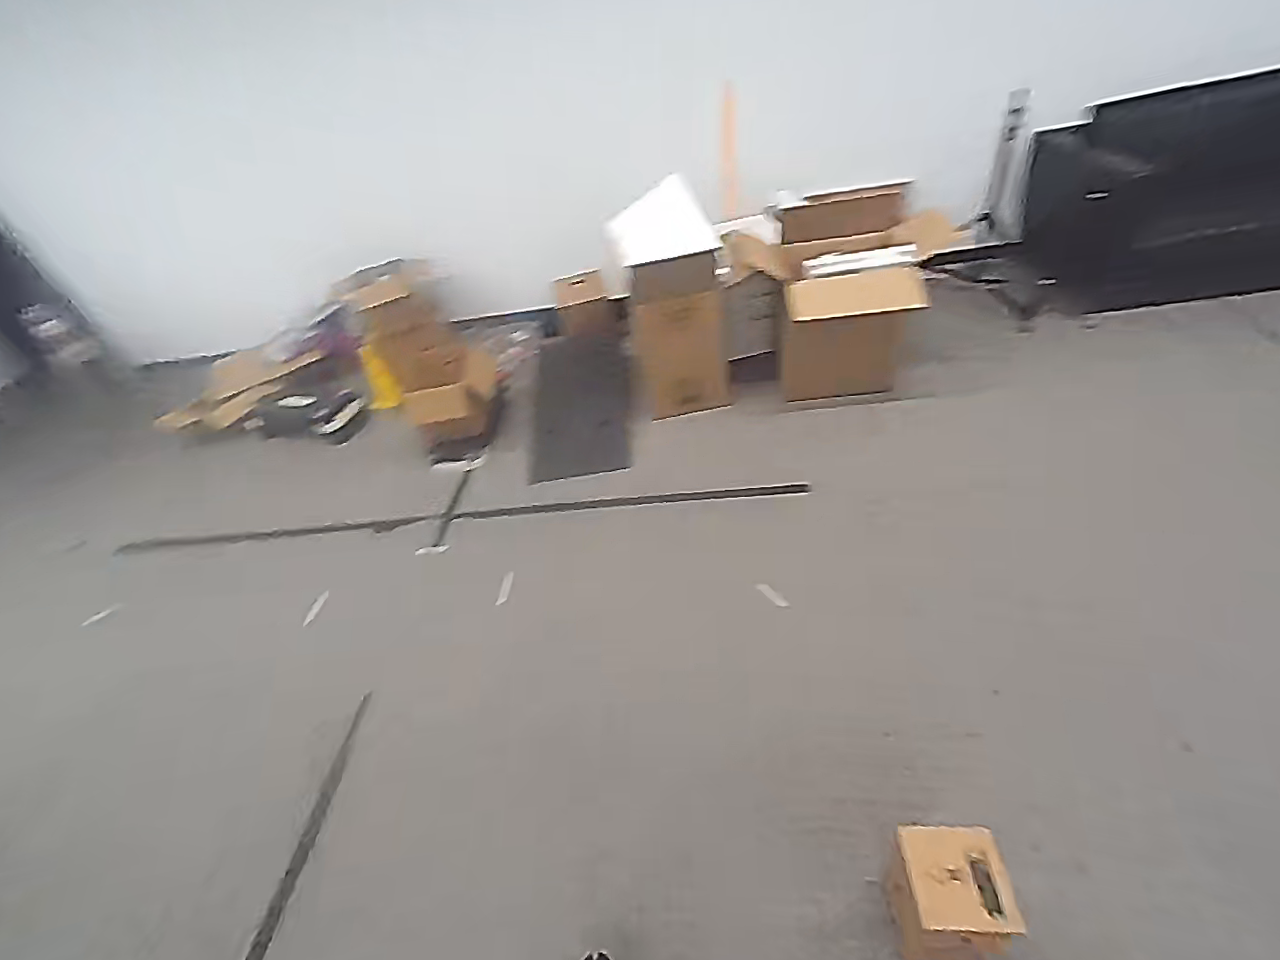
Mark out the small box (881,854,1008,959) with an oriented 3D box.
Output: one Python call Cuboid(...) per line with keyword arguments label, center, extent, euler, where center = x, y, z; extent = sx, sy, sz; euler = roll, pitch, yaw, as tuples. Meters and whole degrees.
Cuboid(label="small box", center=(0.645, 0.928, 1.169), extent=(0.179, 0.176, 0.168), euler=(-5, 41, 7))
